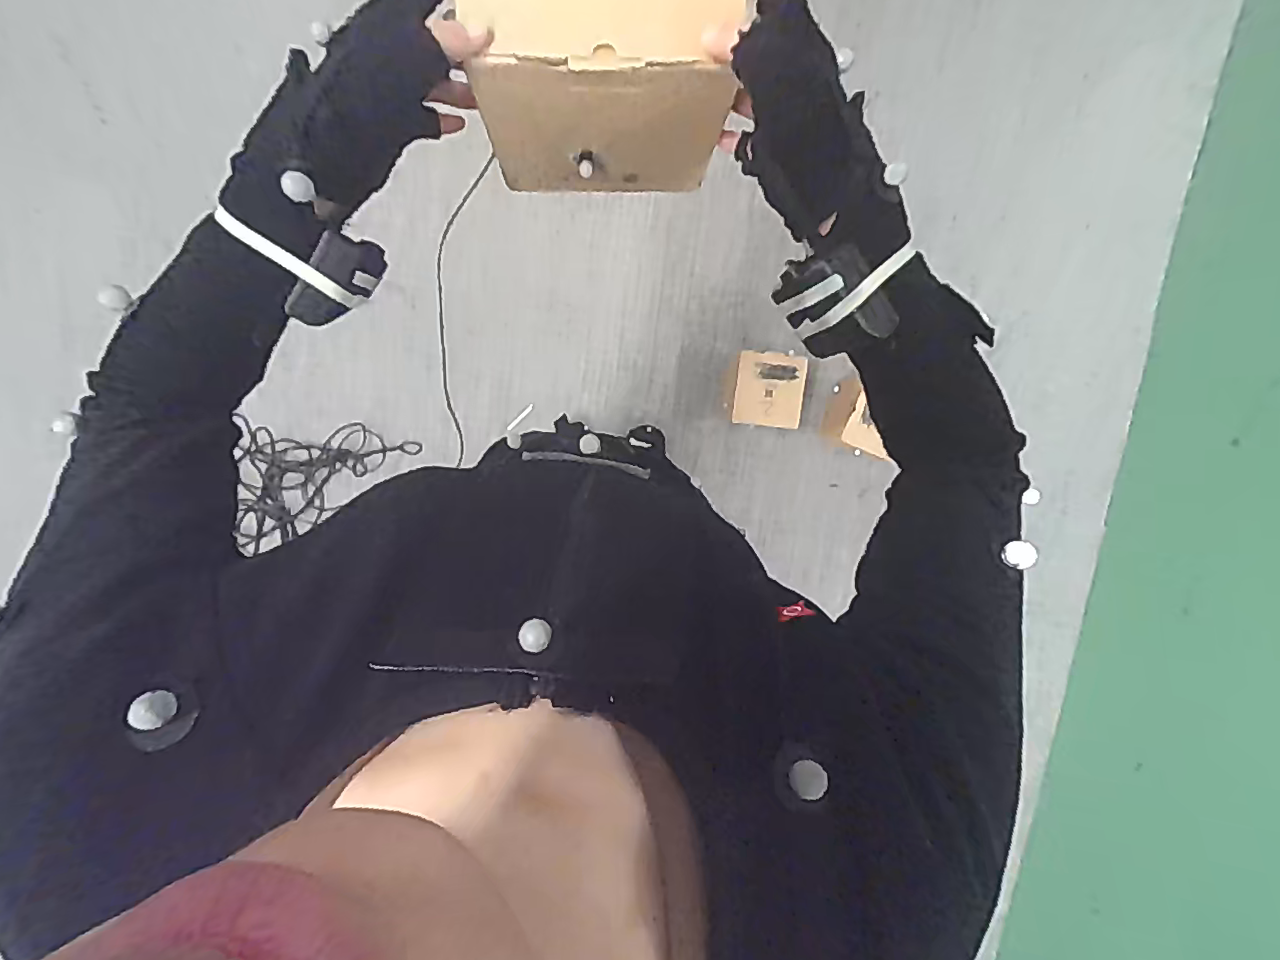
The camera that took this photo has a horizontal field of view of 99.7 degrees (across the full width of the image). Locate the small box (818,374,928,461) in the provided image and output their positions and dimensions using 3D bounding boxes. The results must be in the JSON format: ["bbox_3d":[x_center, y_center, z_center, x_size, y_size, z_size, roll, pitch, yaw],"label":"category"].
[{"bbox_3d":[0.588,-0.161,1.391,0.179,0.176,0.168,21,97,-5],"label":"small box"}]
